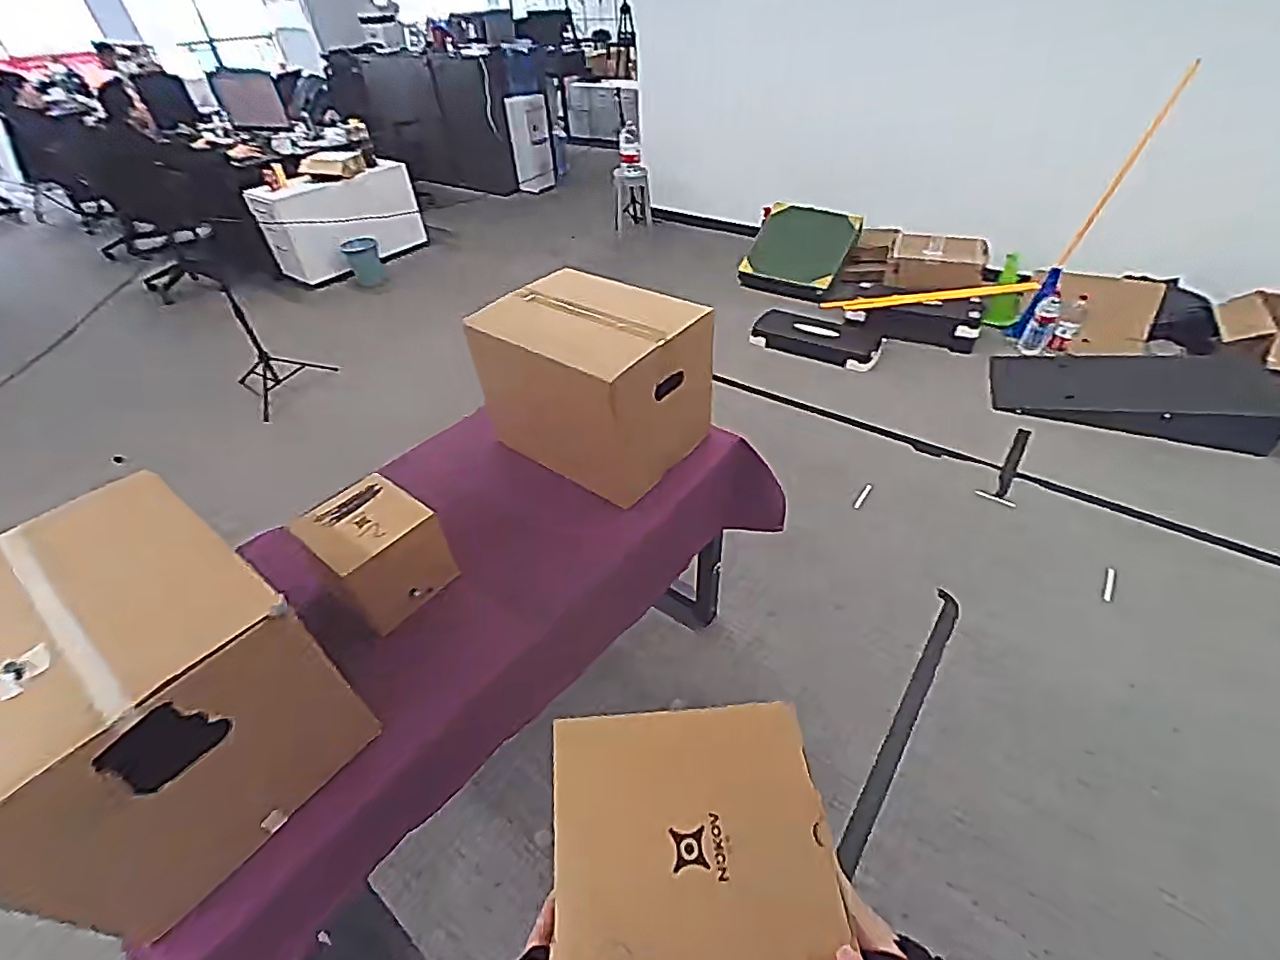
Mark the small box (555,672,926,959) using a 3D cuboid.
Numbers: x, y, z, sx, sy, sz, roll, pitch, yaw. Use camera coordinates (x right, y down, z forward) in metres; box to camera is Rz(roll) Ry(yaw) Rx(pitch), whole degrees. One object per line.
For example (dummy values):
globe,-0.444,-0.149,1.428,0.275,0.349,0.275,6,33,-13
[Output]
small box,0.052,0.256,0.363,0.168,0.176,0.179,11,30,-22
